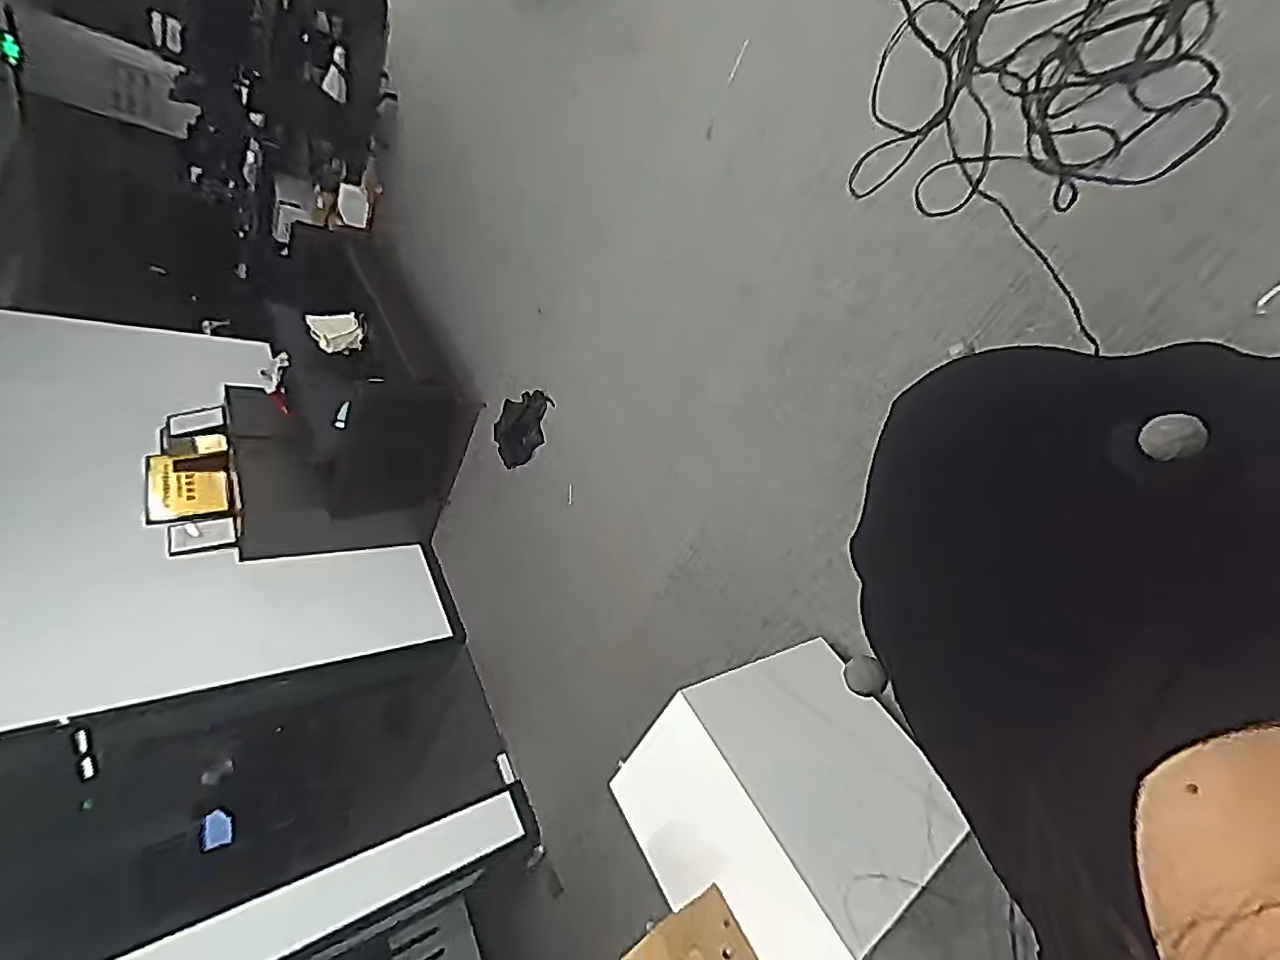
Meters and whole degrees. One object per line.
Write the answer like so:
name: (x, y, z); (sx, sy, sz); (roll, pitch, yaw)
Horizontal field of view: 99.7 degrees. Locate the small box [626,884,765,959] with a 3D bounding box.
small box: (0.107, 0.911, 1.013); (0.168, 0.176, 0.179); (51, 125, 37)
